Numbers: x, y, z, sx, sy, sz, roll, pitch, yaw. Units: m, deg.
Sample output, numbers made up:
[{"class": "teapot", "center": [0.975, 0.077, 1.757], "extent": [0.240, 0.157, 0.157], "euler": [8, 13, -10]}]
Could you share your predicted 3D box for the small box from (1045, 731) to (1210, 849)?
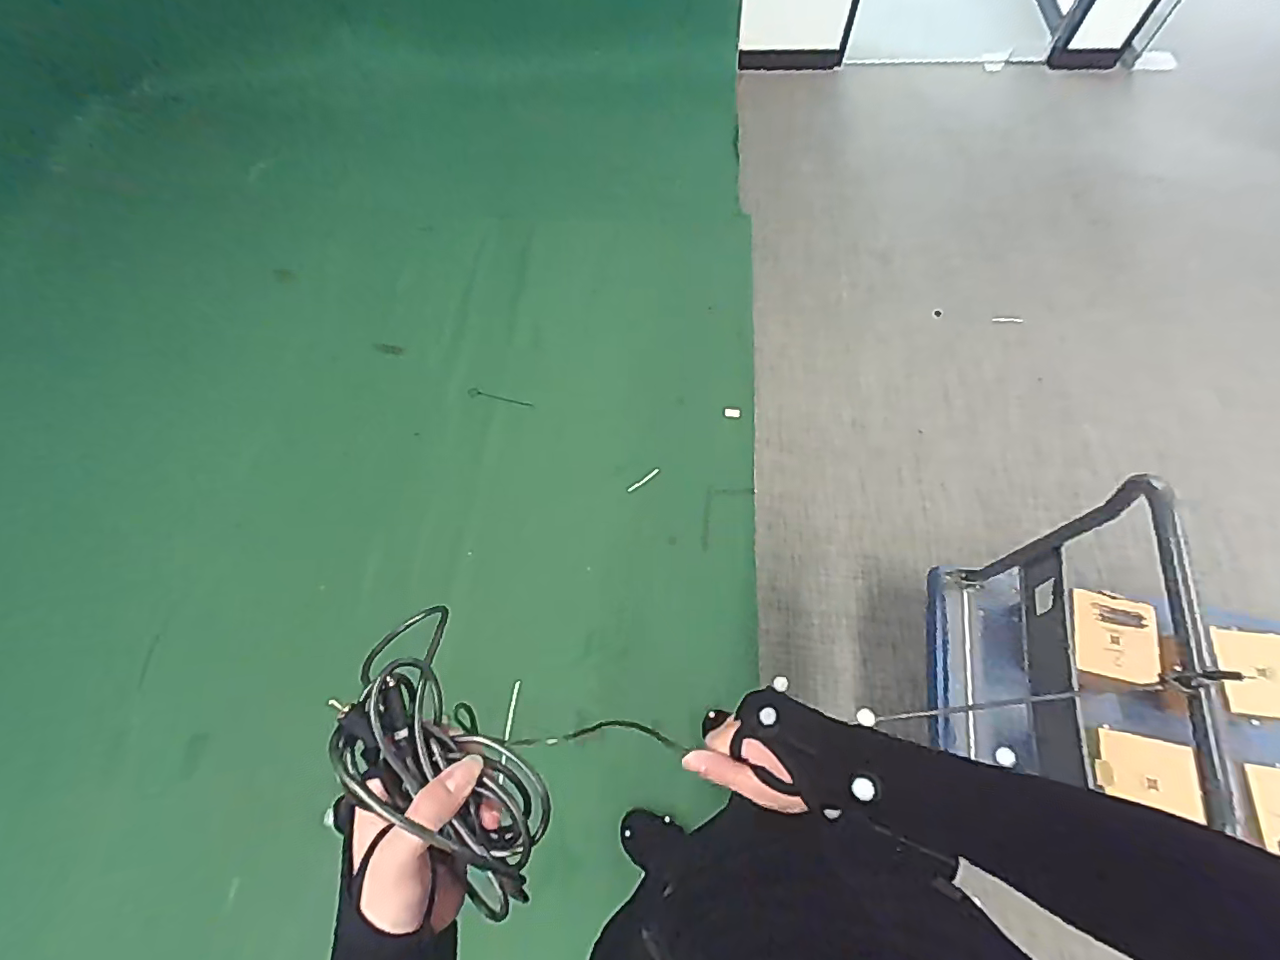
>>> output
[{"class": "small box", "center": [0.965, 0.610, 1.088], "extent": [0.179, 0.176, 0.168], "euler": [10, 67, 8]}]

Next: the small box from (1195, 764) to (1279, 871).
[{"class": "small box", "center": [1.223, 0.660, 1.052], "extent": [0.179, 0.176, 0.168], "euler": [7, 66, 7]}]

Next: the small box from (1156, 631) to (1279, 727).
[{"class": "small box", "center": [1.262, 0.428, 1.154], "extent": [0.179, 0.176, 0.168], "euler": [6, 67, 5]}]
